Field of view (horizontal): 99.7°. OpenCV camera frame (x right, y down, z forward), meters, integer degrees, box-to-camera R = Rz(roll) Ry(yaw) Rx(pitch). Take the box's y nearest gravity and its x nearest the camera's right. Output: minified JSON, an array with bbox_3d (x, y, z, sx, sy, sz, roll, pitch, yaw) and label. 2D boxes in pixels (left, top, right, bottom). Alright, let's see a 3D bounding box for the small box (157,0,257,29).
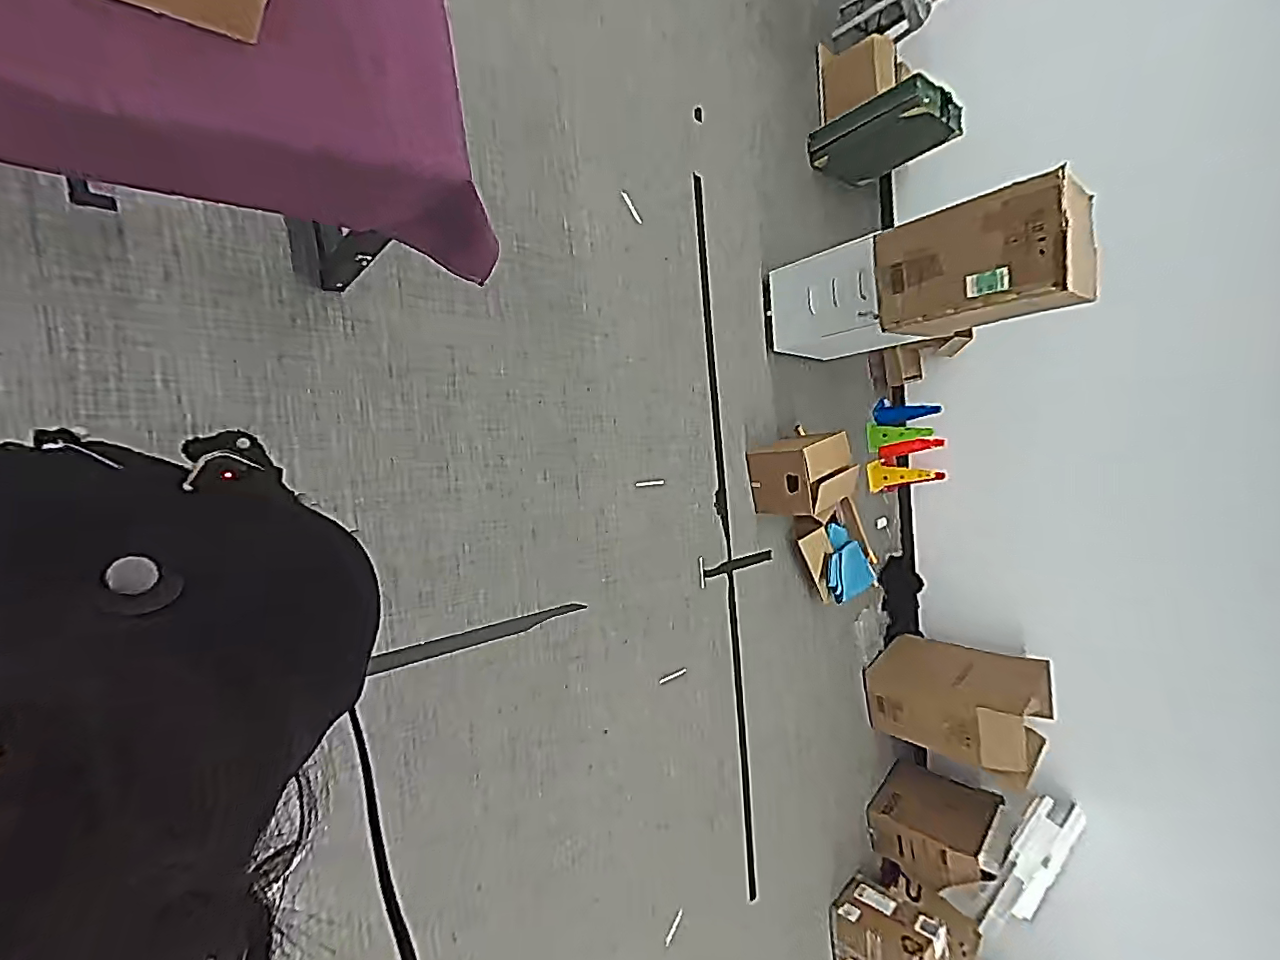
[{"bbox_3d":[-0.513,-0.635,0.568,0.179,0.176,0.168,-10,96,-42],"label":"small box"}]
